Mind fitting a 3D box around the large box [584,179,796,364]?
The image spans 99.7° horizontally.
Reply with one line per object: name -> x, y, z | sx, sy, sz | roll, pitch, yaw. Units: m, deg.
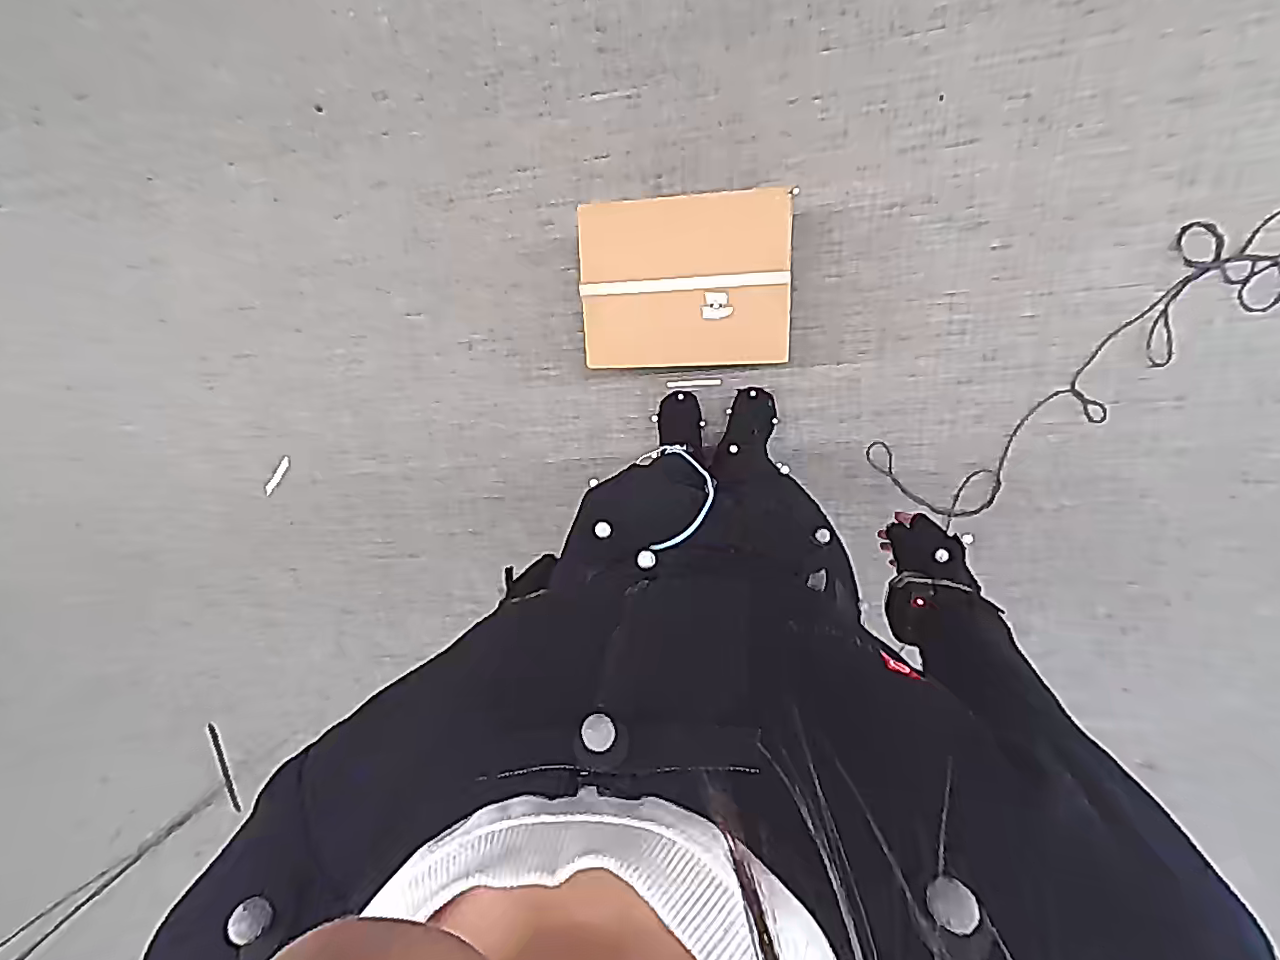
large box -> 0.118, -0.427, 1.186 | 0.408, 0.320, 0.320 | 0, 105, 10
